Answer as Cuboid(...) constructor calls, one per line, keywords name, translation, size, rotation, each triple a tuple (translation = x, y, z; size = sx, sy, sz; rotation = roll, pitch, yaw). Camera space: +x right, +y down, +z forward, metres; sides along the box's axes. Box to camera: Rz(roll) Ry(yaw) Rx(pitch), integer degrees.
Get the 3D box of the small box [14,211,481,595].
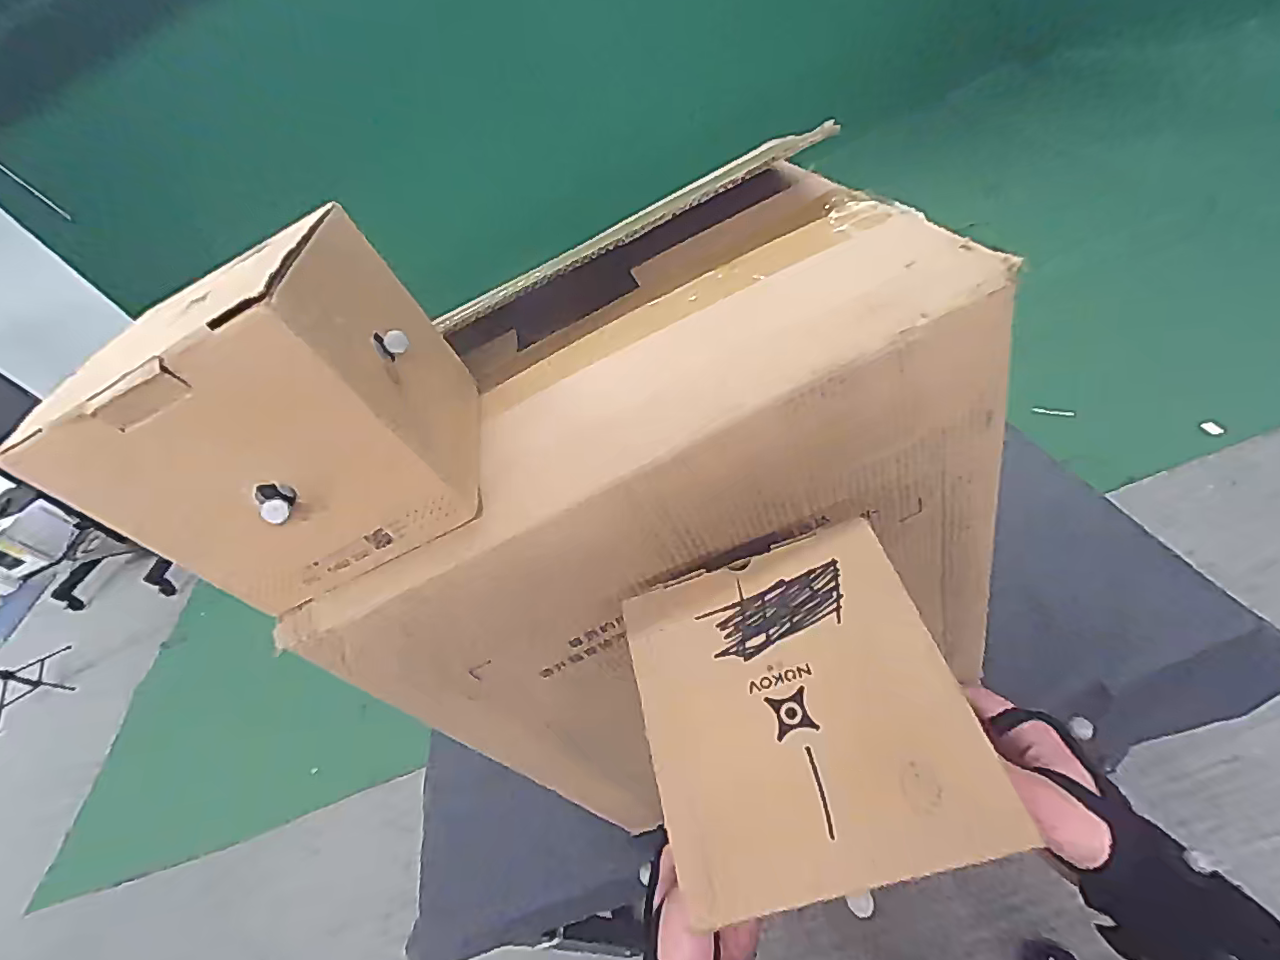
Cuboid(name="small box", translation=(-0.225, -0.044, 0.372), size=(0.168, 0.176, 0.179), rotation=(-26, 43, 6))
